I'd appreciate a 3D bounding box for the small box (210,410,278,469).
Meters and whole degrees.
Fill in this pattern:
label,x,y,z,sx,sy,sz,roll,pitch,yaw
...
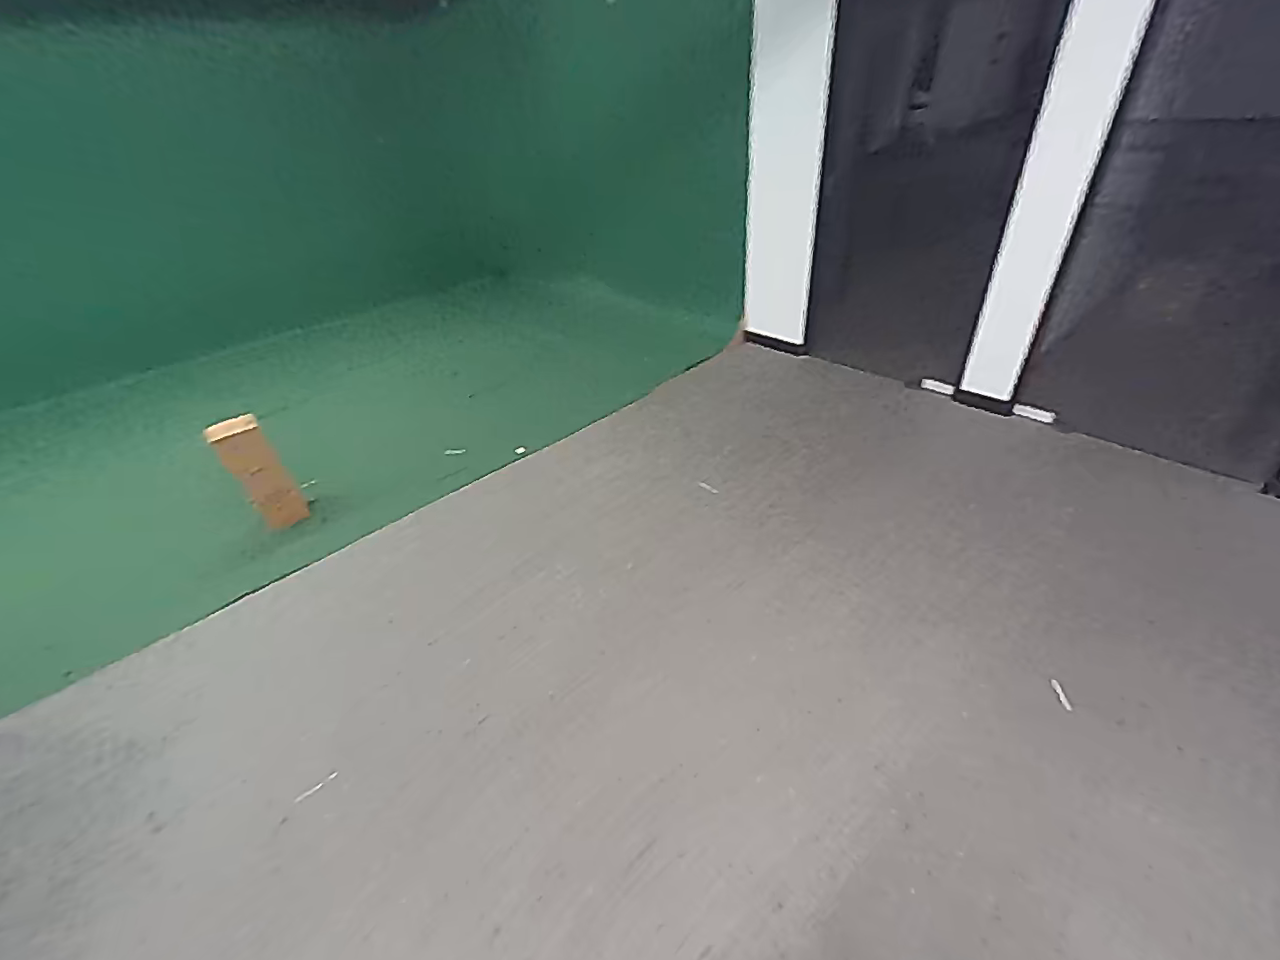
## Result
label,x,y,z,sx,sy,sz,roll,pitch,yaw
small box,-1.692,-0.172,2.312,0.179,0.176,0.168,-29,42,-27

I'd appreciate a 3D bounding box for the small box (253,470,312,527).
label,x,y,z,sx,sy,sz,roll,pitch,yaw
small box,-1.657,0.085,2.513,0.179,0.176,0.168,-28,43,-27
